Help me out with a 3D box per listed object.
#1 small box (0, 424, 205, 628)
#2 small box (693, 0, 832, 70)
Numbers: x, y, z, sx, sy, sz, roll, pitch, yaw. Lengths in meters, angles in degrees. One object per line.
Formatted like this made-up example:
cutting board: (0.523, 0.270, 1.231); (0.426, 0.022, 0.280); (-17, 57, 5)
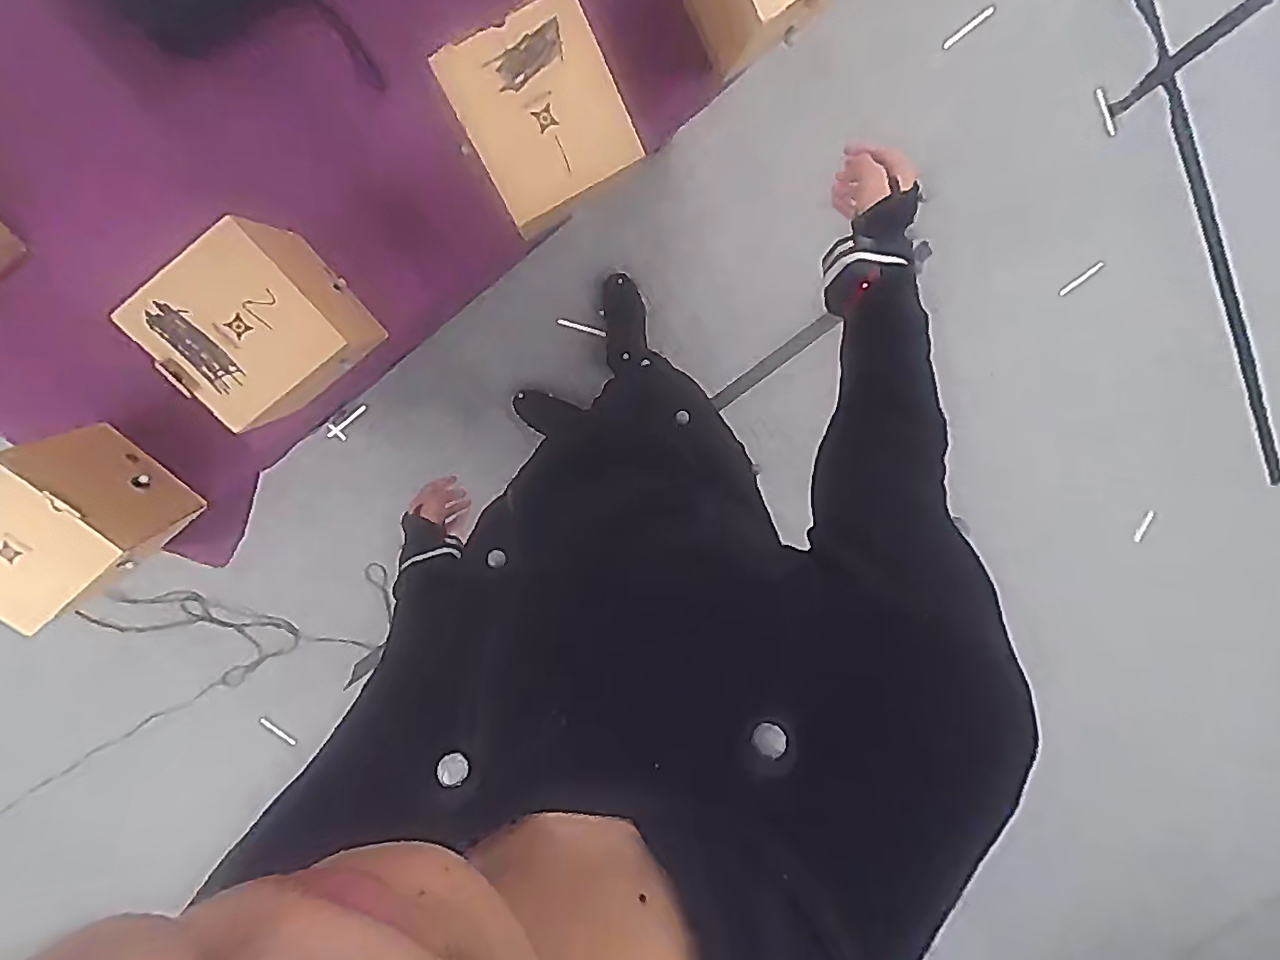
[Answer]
small box: (-0.742, 0.051, 0.716); (0.179, 0.176, 0.168); (-40, 110, 5)
small box: (0.145, -0.624, 0.610); (0.168, 0.176, 0.179); (-32, 110, 5)
